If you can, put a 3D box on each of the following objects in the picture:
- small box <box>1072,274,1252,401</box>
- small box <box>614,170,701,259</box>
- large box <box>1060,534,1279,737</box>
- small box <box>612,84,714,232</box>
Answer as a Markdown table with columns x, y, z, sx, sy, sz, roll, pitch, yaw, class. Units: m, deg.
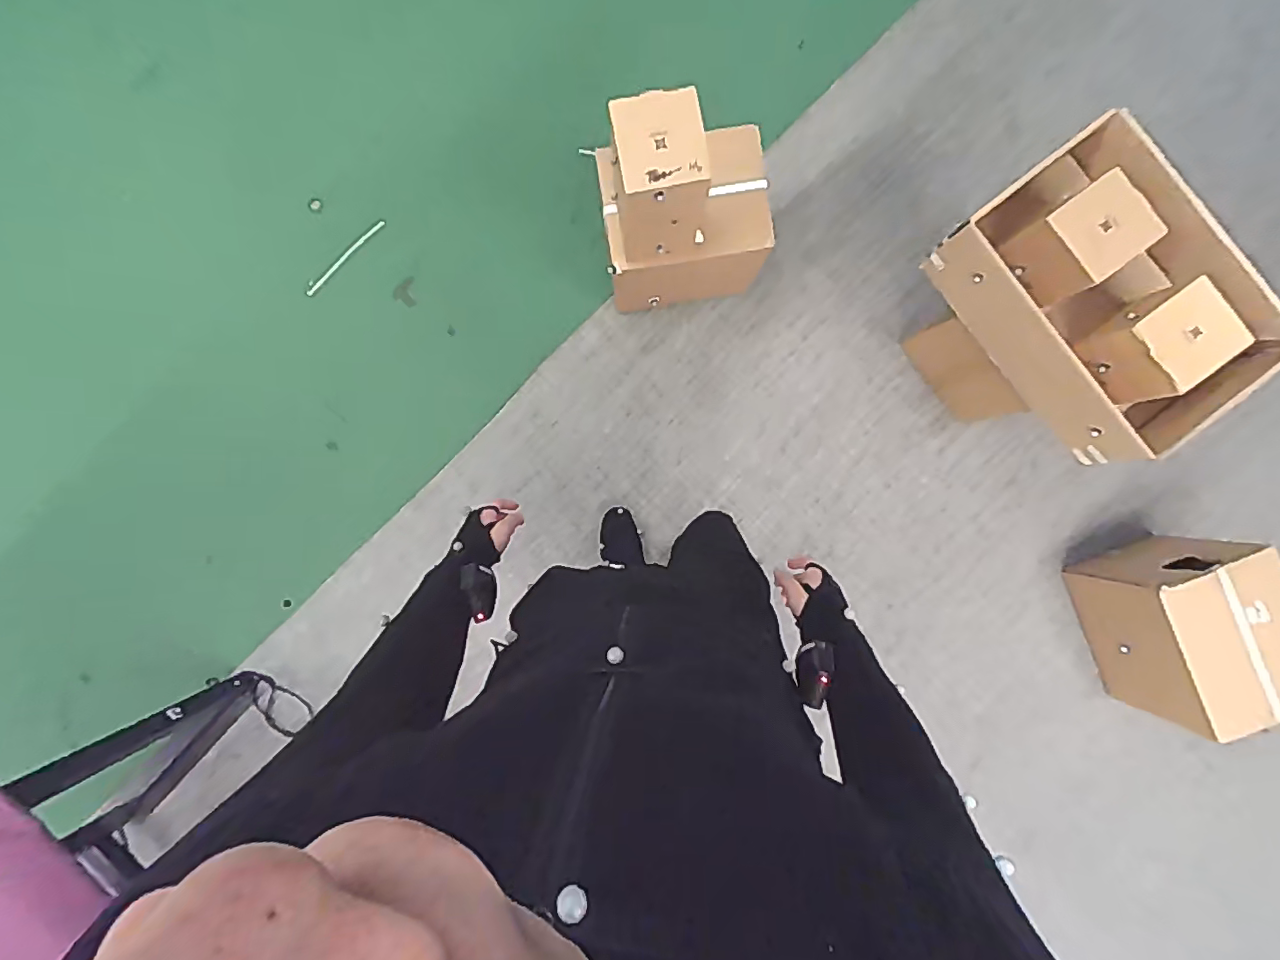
| x | y | z | sx | sy | sz | roll | pitch | yaw | class |
| --- | --- | --- | --- | --- | --- | --- | --- | --- | --- |
| 1.068 | -0.285 | 1.123 | 0.179 | 0.176 | 0.168 | -37 | 90 | 1 | small box |
| 0.034 | -0.628 | 1.220 | 0.168 | 0.176 | 0.179 | -10 | 91 | -1 | small box |
| 1.466 | 0.394 | 1.469 | 0.320 | 0.320 | 0.408 | -22 | 89 | -1 | large box |
| 0.039 | -0.618 | 1.057 | 0.168 | 0.176 | 0.179 | -11 | 90 | -1 | small box |
